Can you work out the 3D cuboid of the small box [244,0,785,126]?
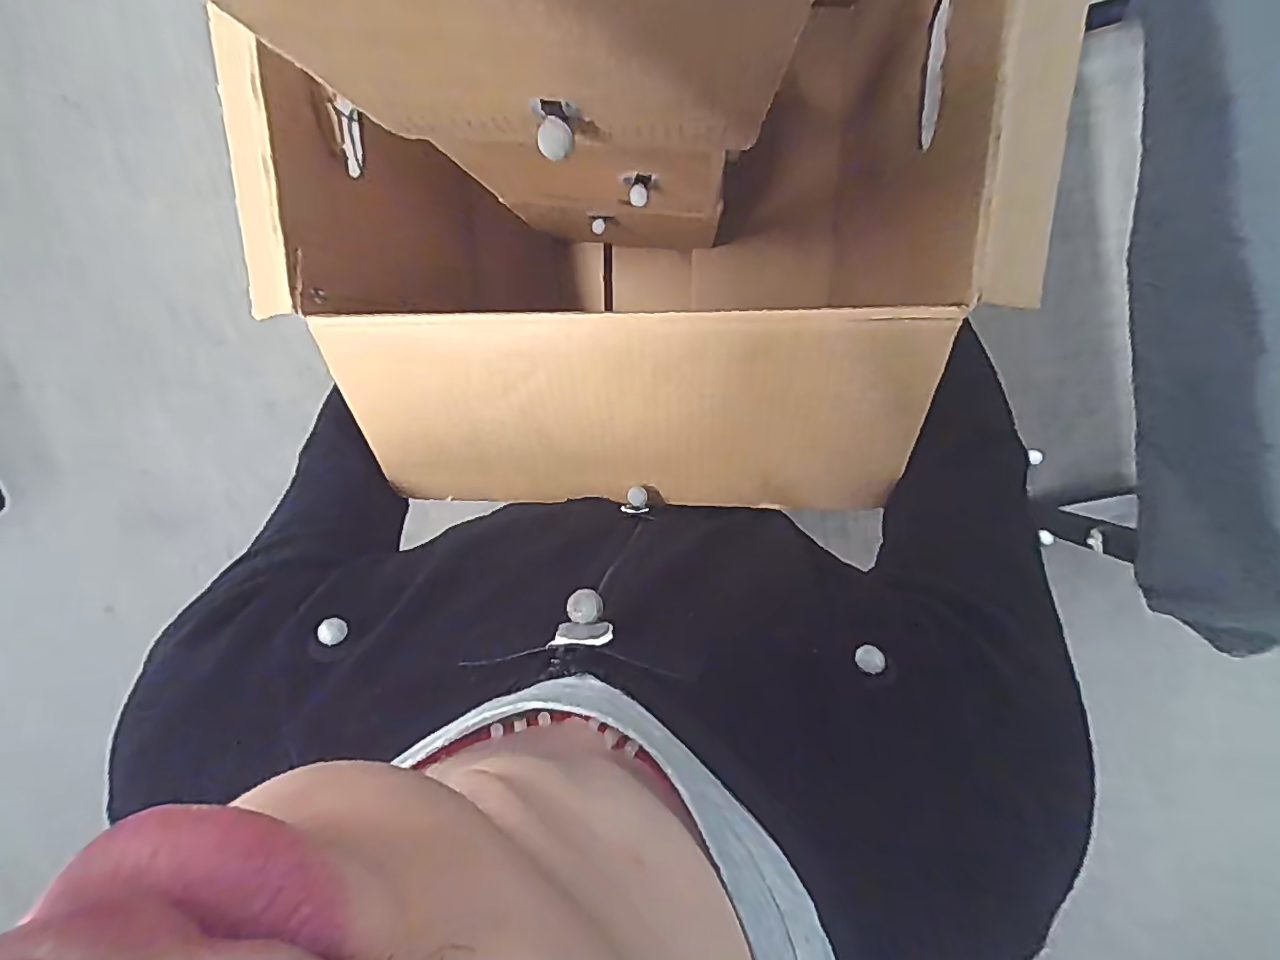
[{"bbox_3d":[-0.036,-0.222,0.151,0.179,0.176,0.168,4,105,2],"label":"small box"}]
